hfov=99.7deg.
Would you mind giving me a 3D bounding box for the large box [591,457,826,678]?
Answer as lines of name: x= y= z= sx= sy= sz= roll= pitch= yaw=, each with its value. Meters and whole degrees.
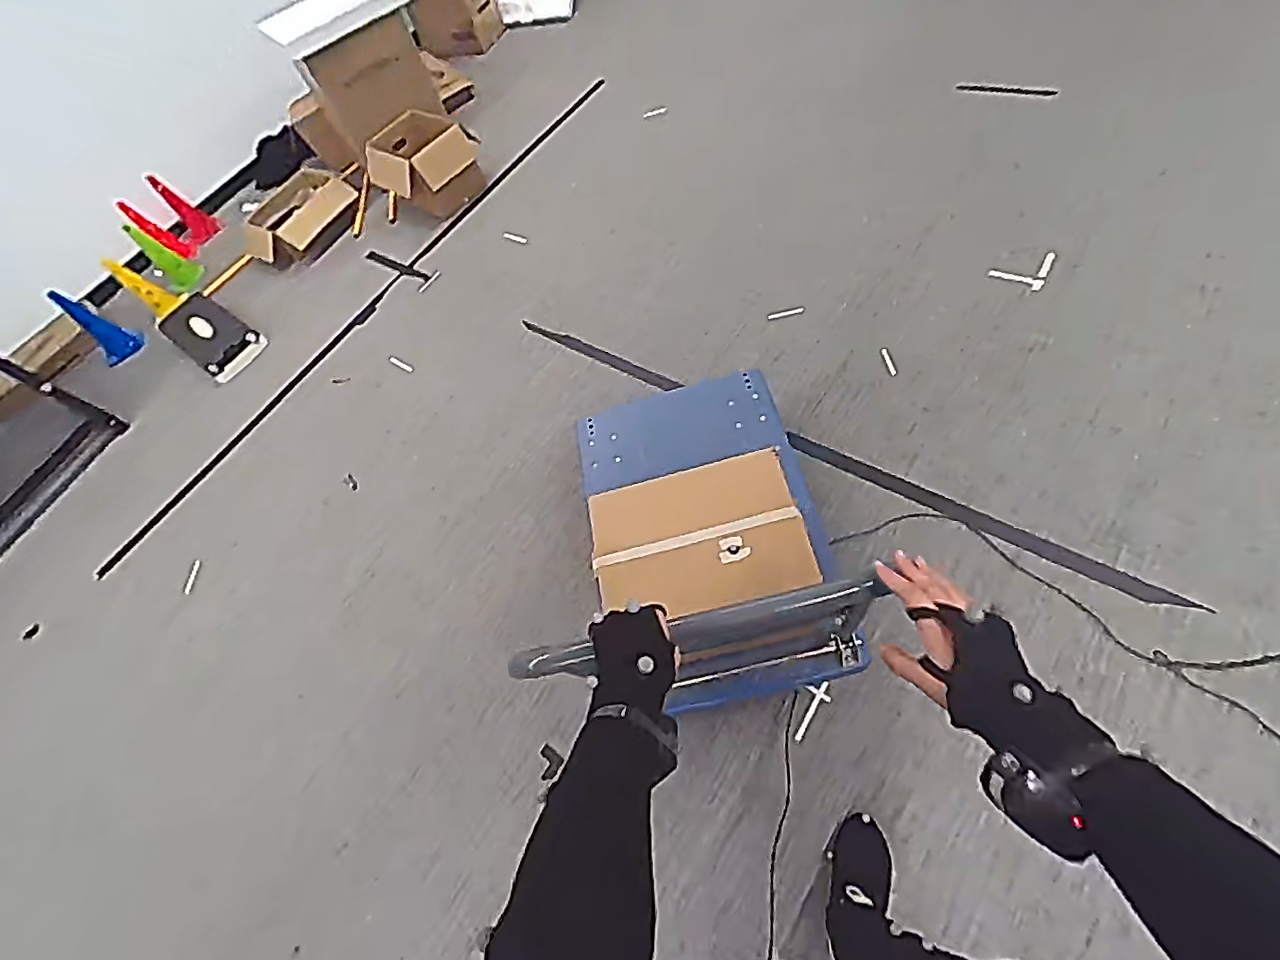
large box: x=0.143 y=0.203 z=1.166 sx=0.408 sy=0.320 sz=0.320 roll=-15 pitch=59 yaw=6
